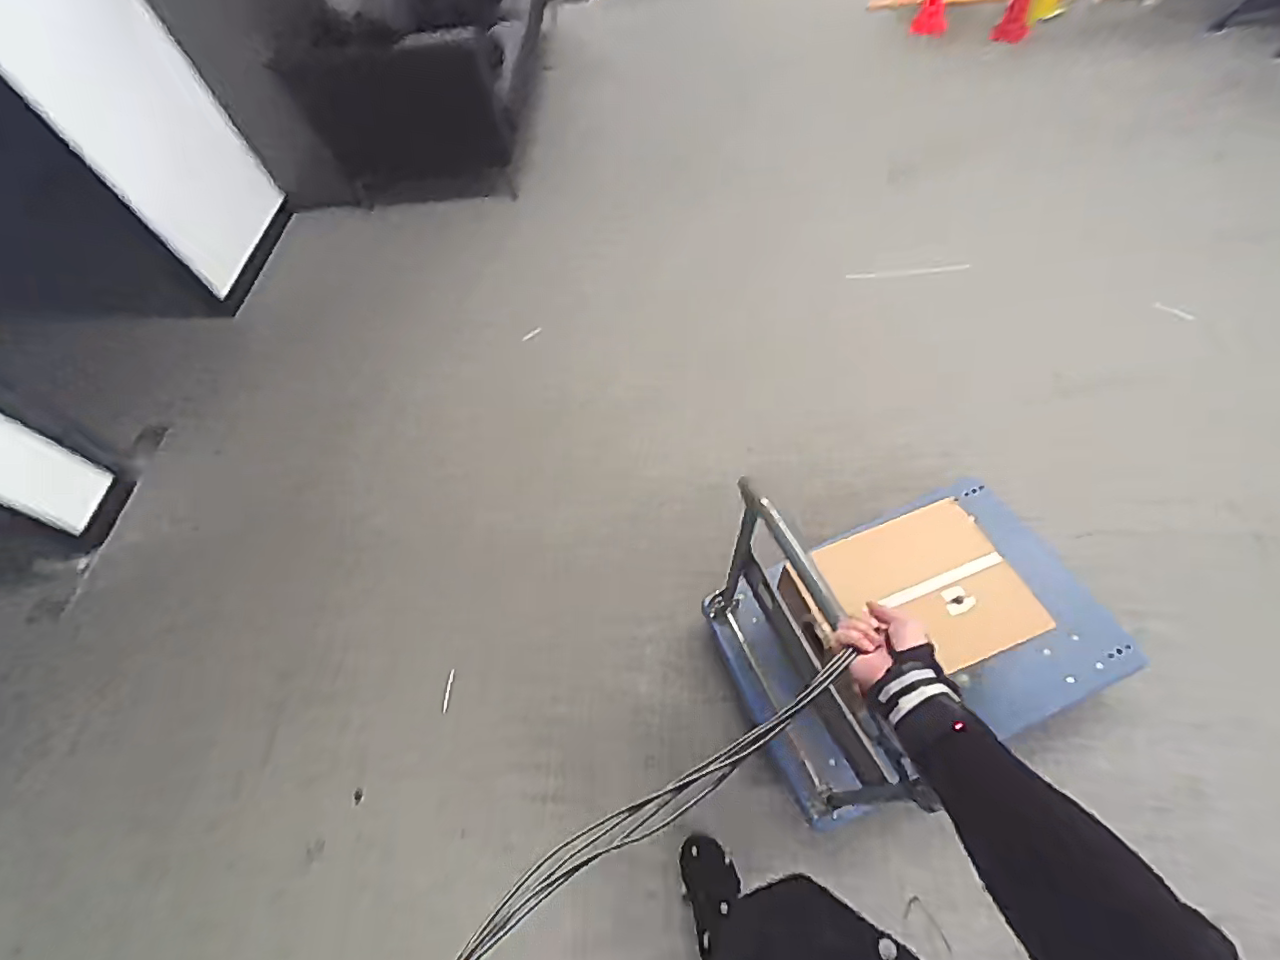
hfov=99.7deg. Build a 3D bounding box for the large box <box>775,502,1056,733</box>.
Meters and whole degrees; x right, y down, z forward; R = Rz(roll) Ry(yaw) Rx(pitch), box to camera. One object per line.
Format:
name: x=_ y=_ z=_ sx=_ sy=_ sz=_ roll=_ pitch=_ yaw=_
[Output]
large box: x=0.562 y=0.312 z=1.195 sx=0.408 sy=0.320 sz=0.320 roll=-20 pitch=59 yaw=-6
